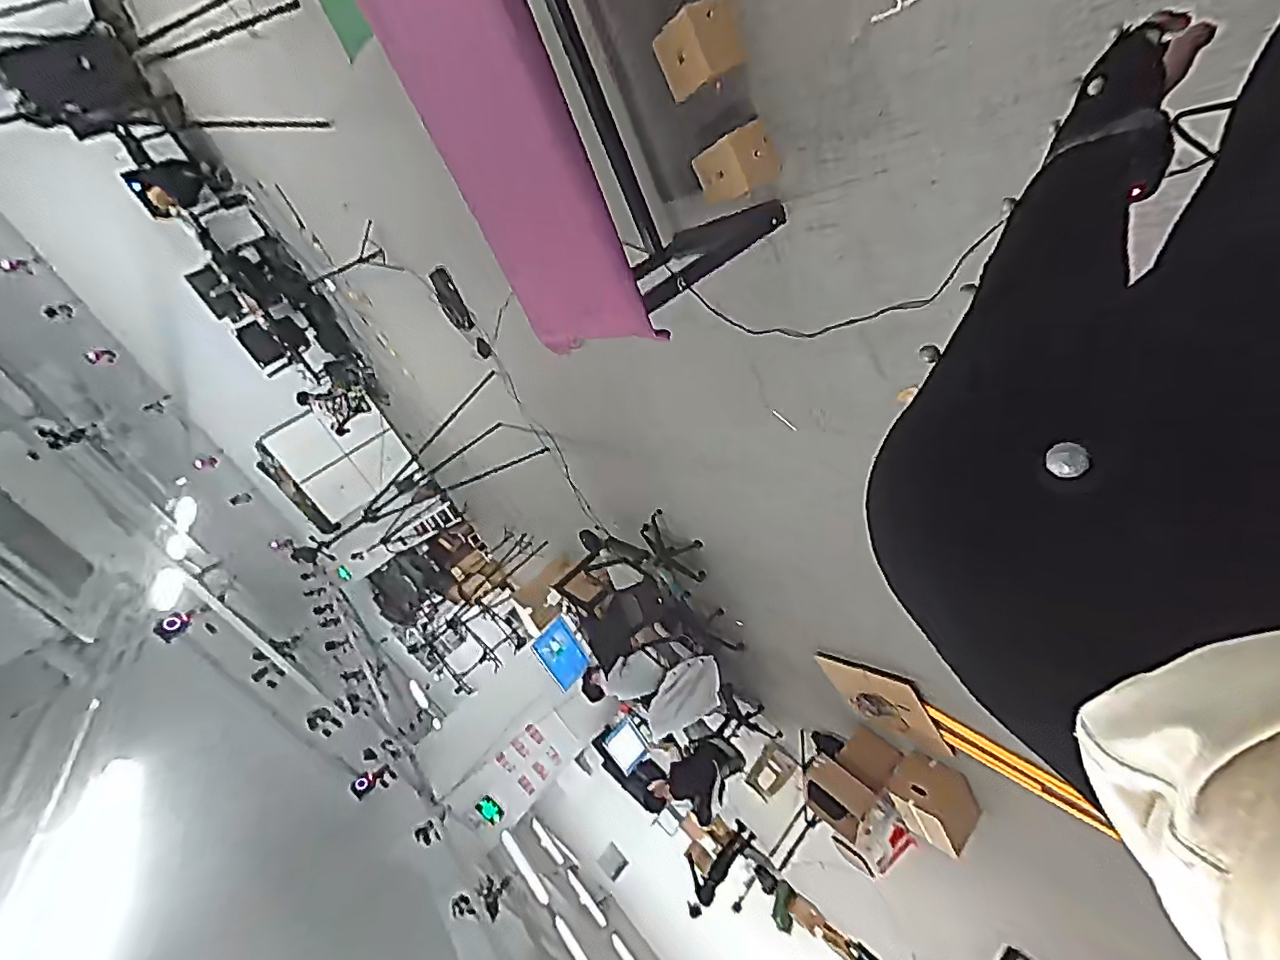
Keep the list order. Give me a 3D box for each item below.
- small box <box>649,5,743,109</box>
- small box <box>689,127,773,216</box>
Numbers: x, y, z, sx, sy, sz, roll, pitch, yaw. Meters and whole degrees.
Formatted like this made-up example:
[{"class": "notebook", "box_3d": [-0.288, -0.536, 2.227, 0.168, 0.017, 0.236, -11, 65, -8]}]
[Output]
[{"class": "small box", "box_3d": [0.164, -1.227, 1.565, 0.168, 0.176, 0.179, 7, 132, 57]}, {"class": "small box", "box_3d": [0.295, -0.972, 1.704, 0.179, 0.176, 0.168, 3, 129, 57]}]
